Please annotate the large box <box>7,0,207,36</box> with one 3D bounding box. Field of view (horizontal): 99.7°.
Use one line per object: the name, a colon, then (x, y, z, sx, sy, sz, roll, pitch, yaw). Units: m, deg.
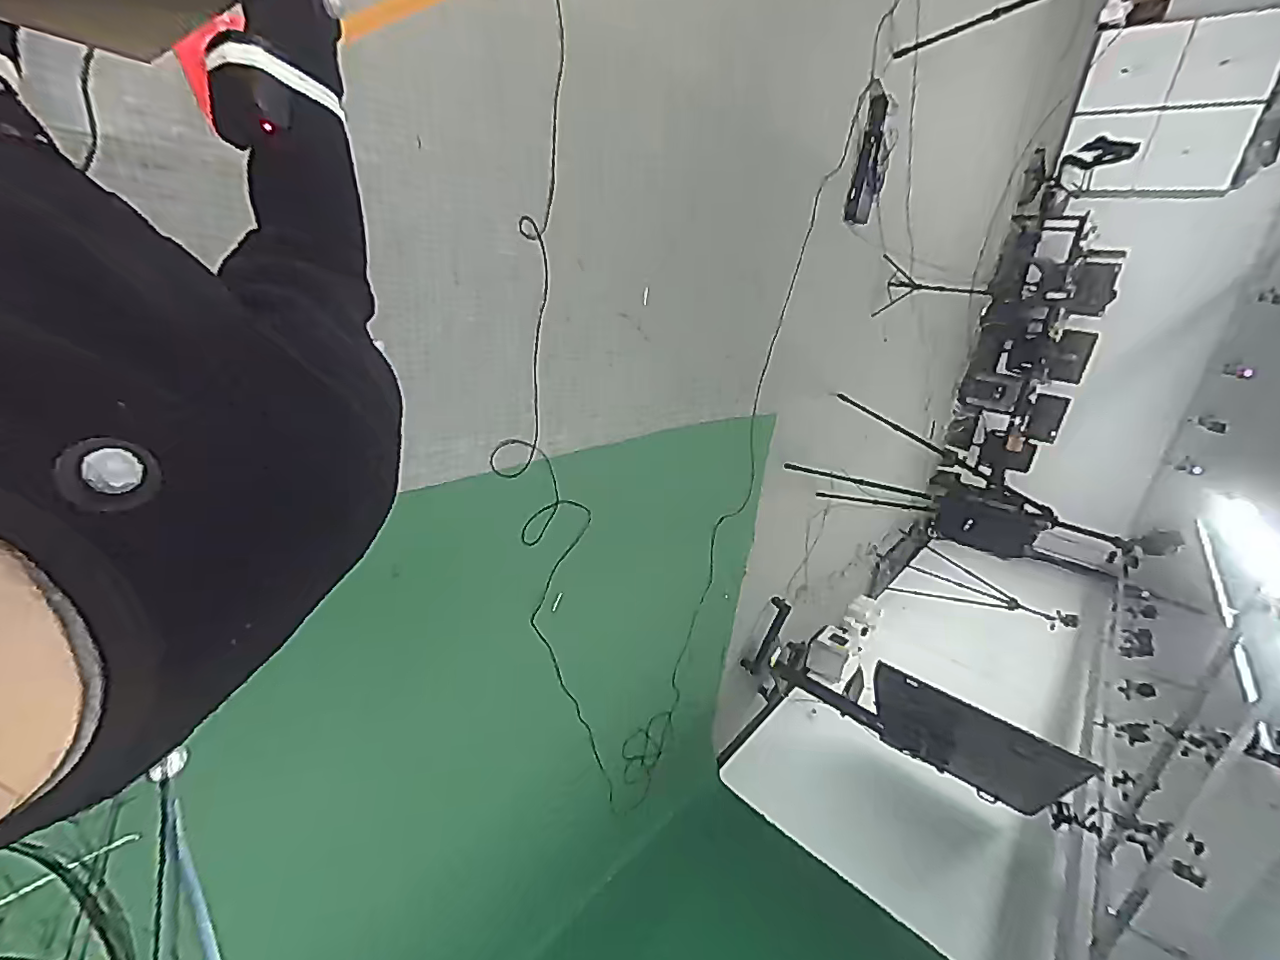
large box: (-0.511, -0.513, 0.285, 0.408, 0.320, 0.320, -18, 120, -48)
